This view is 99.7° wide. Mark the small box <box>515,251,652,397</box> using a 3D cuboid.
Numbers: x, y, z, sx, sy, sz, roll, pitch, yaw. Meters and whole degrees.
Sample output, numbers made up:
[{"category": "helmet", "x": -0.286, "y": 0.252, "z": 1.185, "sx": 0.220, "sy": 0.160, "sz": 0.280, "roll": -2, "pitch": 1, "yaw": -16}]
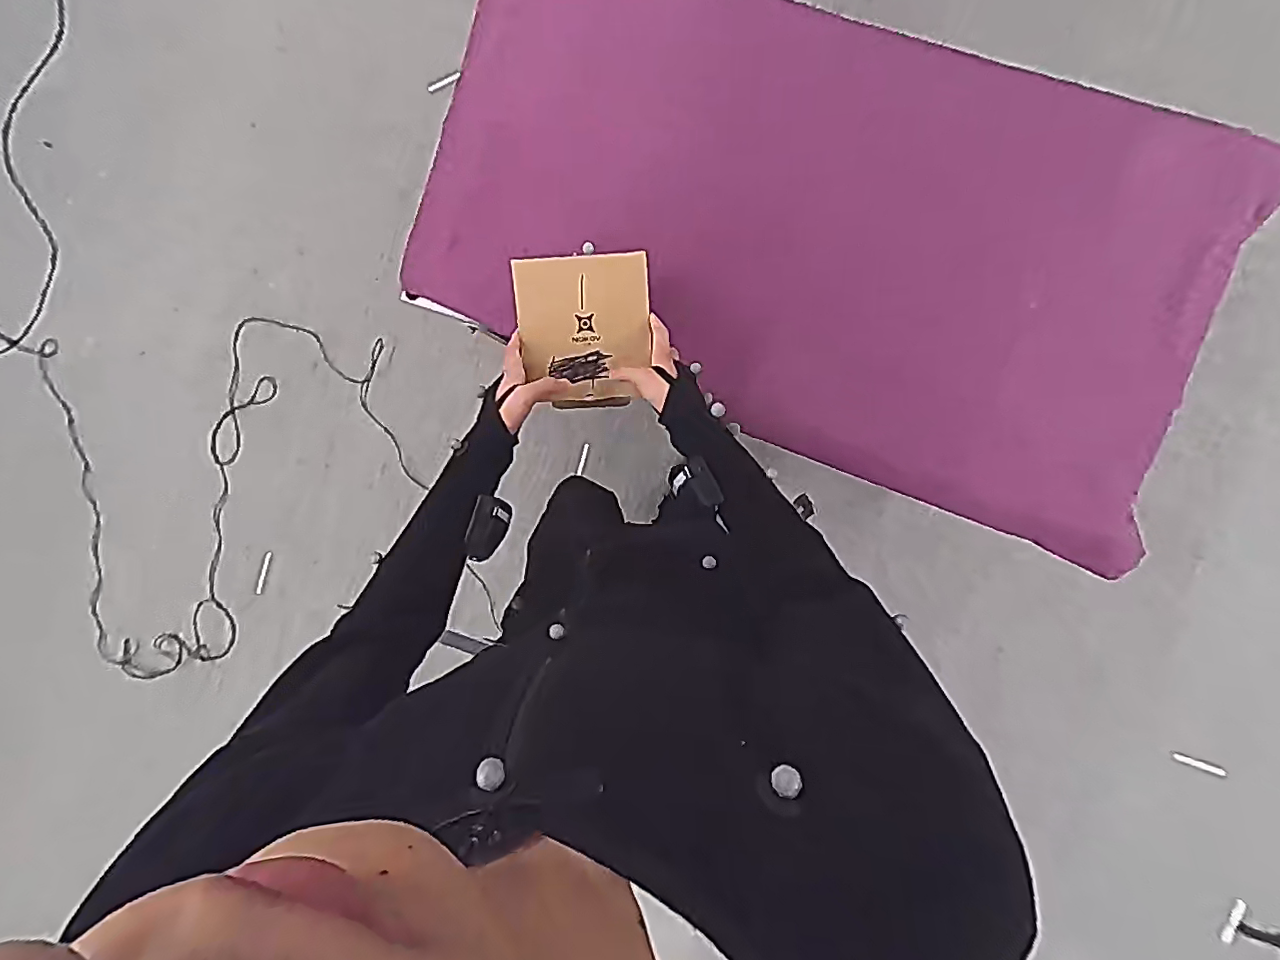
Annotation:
[{"category": "small box", "x": -0.068, "y": -0.222, "z": 0.753, "sx": 0.168, "sy": 0.176, "sz": 0.179, "roll": -3, "pitch": 112, "yaw": -1}]
